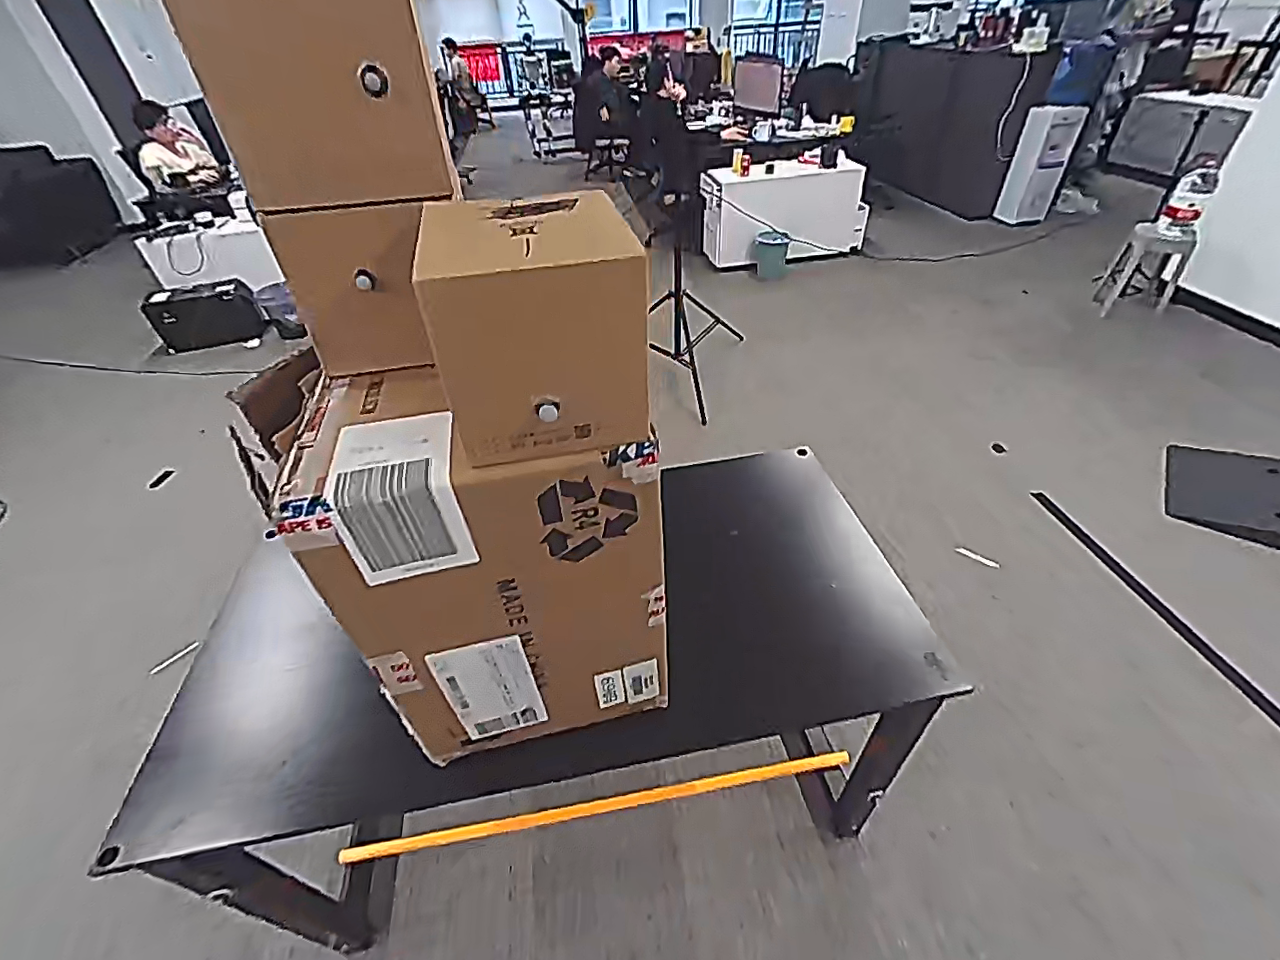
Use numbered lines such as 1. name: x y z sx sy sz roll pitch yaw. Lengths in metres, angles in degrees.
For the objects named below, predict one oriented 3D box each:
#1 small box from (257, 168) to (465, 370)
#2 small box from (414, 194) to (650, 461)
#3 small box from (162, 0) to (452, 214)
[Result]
1. small box: -0.276 -0.237 0.609 0.179 0.176 0.168 -11 40 -9
2. small box: -0.090 -0.141 0.488 0.168 0.176 0.179 -10 43 -9
3. small box: -0.280 -0.362 0.503 0.179 0.176 0.168 -12 39 -11
